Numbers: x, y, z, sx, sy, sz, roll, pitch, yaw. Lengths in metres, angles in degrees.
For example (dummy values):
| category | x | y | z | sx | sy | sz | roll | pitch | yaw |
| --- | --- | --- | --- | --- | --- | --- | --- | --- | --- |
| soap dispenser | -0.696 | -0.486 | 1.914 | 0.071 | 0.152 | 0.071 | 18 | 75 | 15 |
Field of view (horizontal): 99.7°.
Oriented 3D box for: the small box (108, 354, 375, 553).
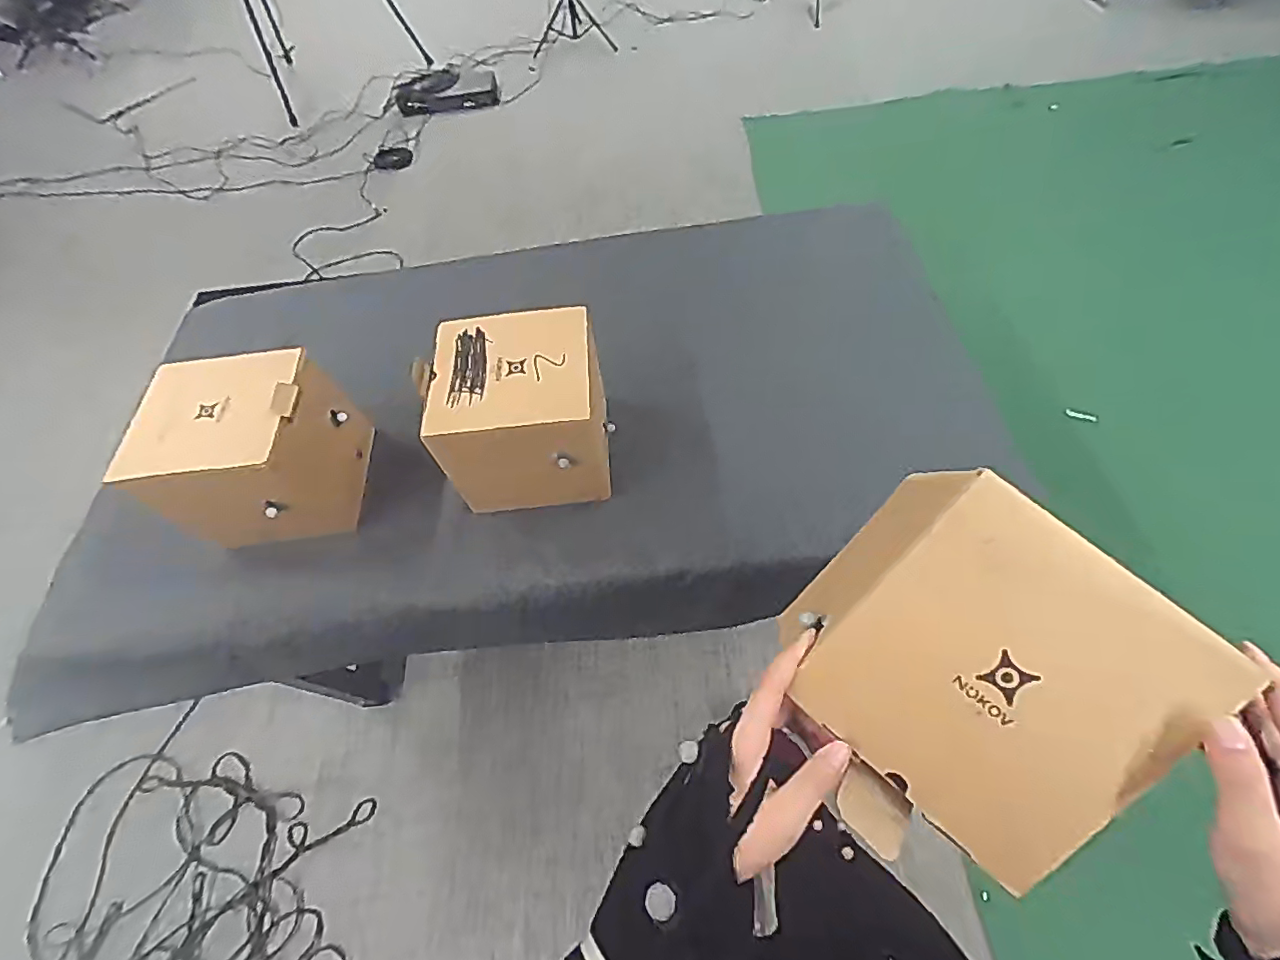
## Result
| category | x | y | z | sx | sy | sz | roll | pitch | yaw |
| --- | --- | --- | --- | --- | --- | --- | --- | --- | --- |
| small box | -0.452 | -0.025 | 0.653 | 0.179 | 0.176 | 0.168 | -8 | 57 | 2 |
